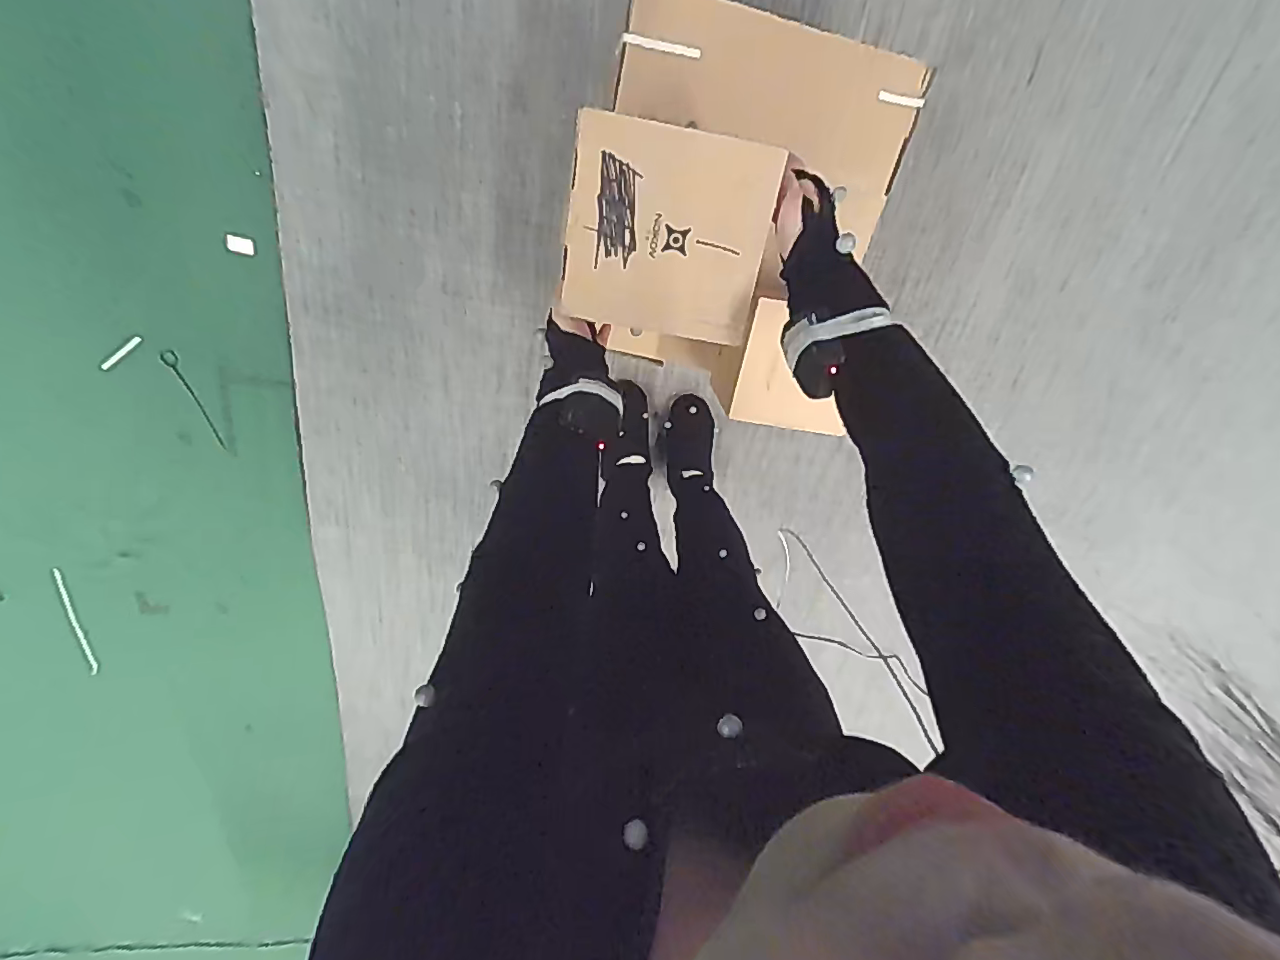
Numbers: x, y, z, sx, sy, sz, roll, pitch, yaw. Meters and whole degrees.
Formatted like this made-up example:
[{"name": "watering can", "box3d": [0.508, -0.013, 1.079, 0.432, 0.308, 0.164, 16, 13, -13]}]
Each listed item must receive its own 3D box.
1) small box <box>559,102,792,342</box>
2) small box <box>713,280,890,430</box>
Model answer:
[{"name": "small box", "box3d": [0.025, -0.247, 0.537, 0.179, 0.176, 0.168, 8, 116, -5]}, {"name": "small box", "box3d": [0.218, -0.187, 0.785, 0.179, 0.176, 0.168, 8, 116, -7]}]
